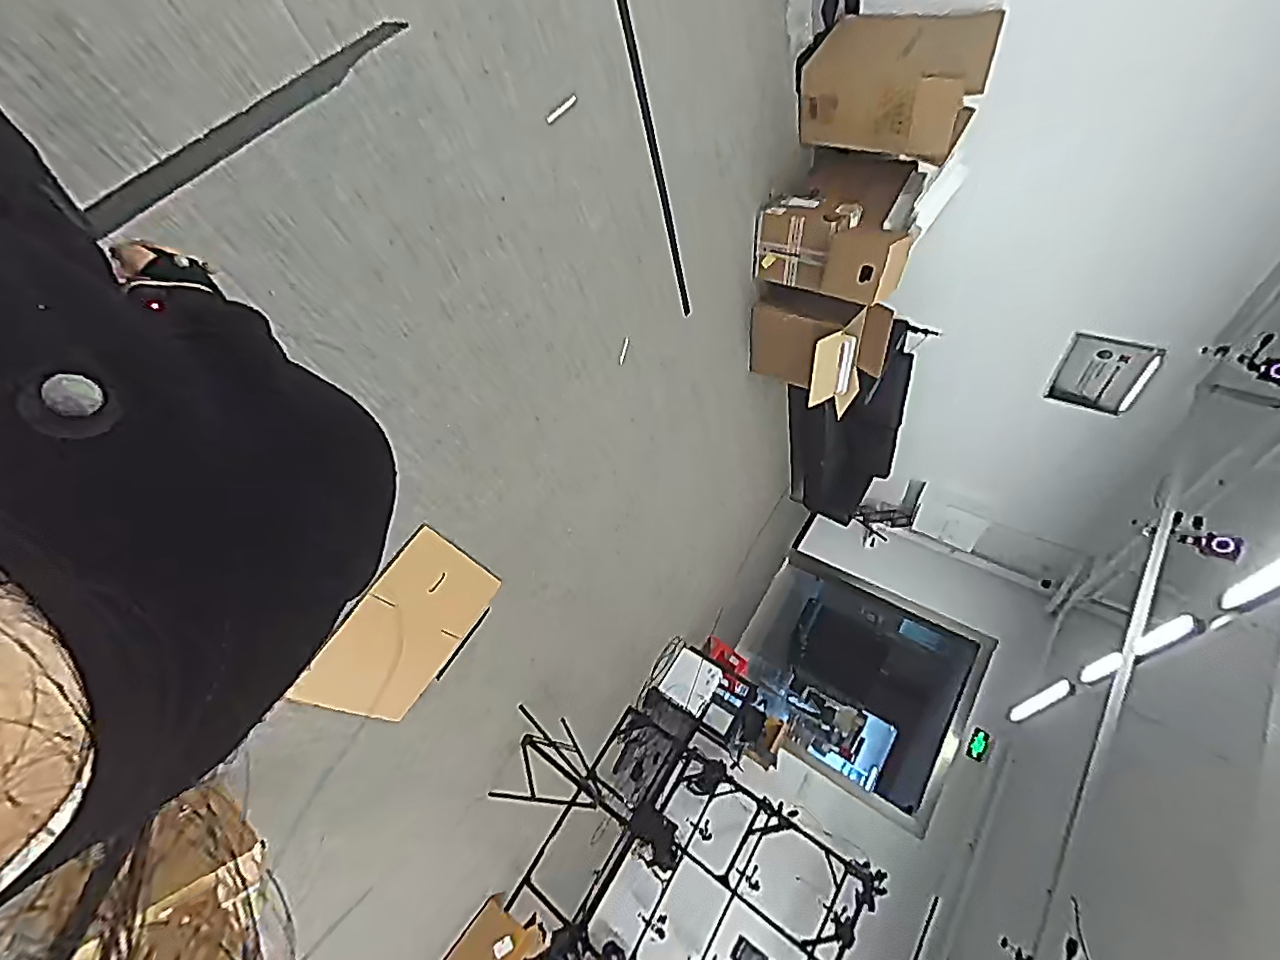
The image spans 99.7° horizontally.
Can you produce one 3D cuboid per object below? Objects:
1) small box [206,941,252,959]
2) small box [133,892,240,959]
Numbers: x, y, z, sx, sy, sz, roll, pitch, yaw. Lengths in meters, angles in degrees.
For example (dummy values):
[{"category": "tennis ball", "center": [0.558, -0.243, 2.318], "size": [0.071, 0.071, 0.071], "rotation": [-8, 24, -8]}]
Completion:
[{"category": "small box", "center": [-1.007, 1.263, 1.277], "size": [0.168, 0.176, 0.179], "rotation": [-10, 121, -57]}, {"category": "small box", "center": [-1.137, 1.200, 1.355], "size": [0.168, 0.176, 0.179], "rotation": [-10, 119, -56]}]
